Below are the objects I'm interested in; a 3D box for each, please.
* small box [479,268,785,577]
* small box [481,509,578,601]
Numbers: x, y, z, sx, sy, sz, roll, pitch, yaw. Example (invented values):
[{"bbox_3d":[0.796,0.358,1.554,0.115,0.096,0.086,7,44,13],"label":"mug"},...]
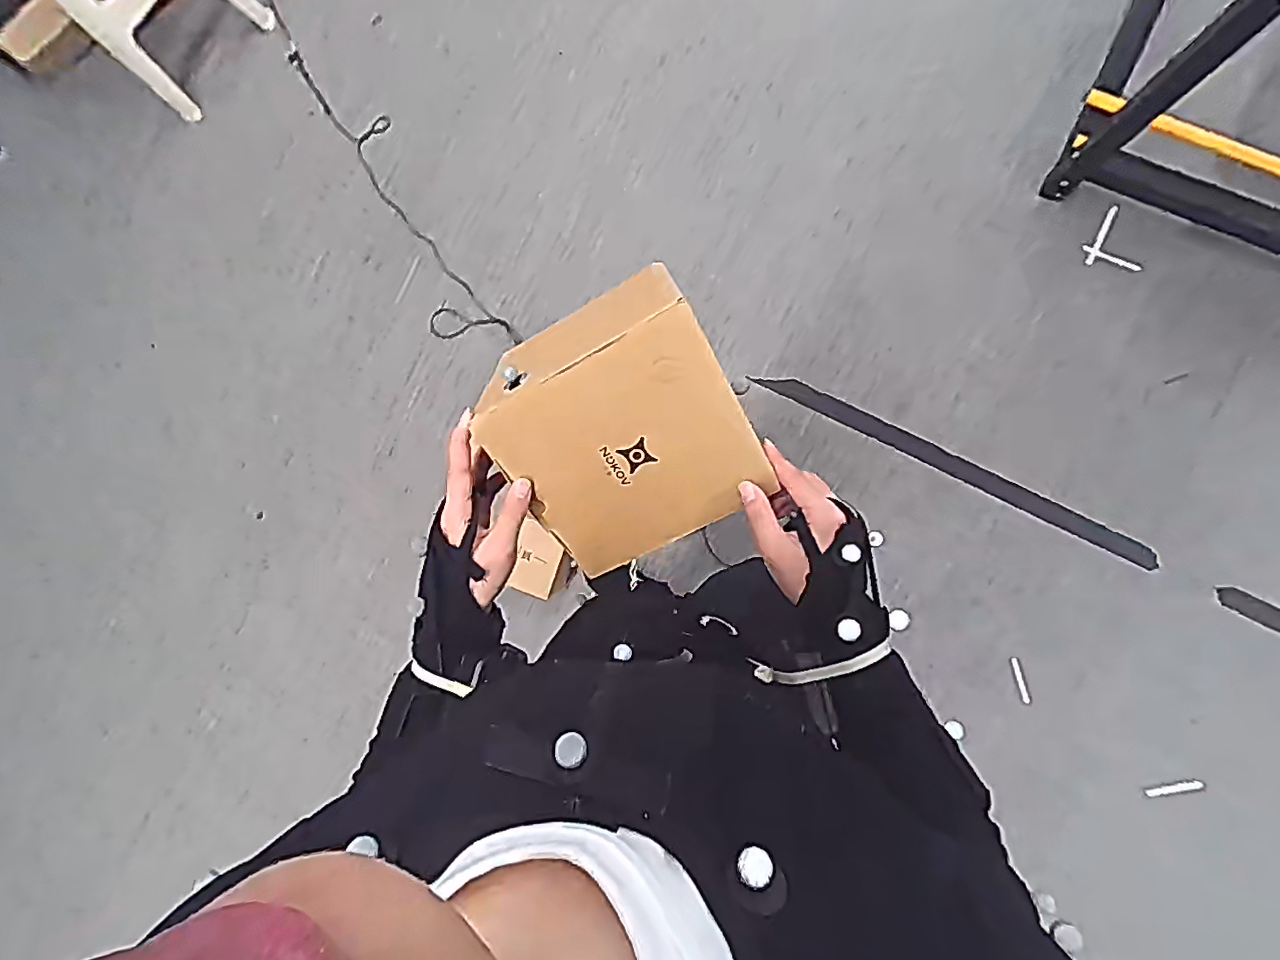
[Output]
[{"bbox_3d":[-0.005,-0.057,0.462,0.179,0.176,0.168,-27,118,13],"label":"small box"},{"bbox_3d":[-0.254,0.175,1.315,0.179,0.176,0.168,19,91,6],"label":"small box"}]
